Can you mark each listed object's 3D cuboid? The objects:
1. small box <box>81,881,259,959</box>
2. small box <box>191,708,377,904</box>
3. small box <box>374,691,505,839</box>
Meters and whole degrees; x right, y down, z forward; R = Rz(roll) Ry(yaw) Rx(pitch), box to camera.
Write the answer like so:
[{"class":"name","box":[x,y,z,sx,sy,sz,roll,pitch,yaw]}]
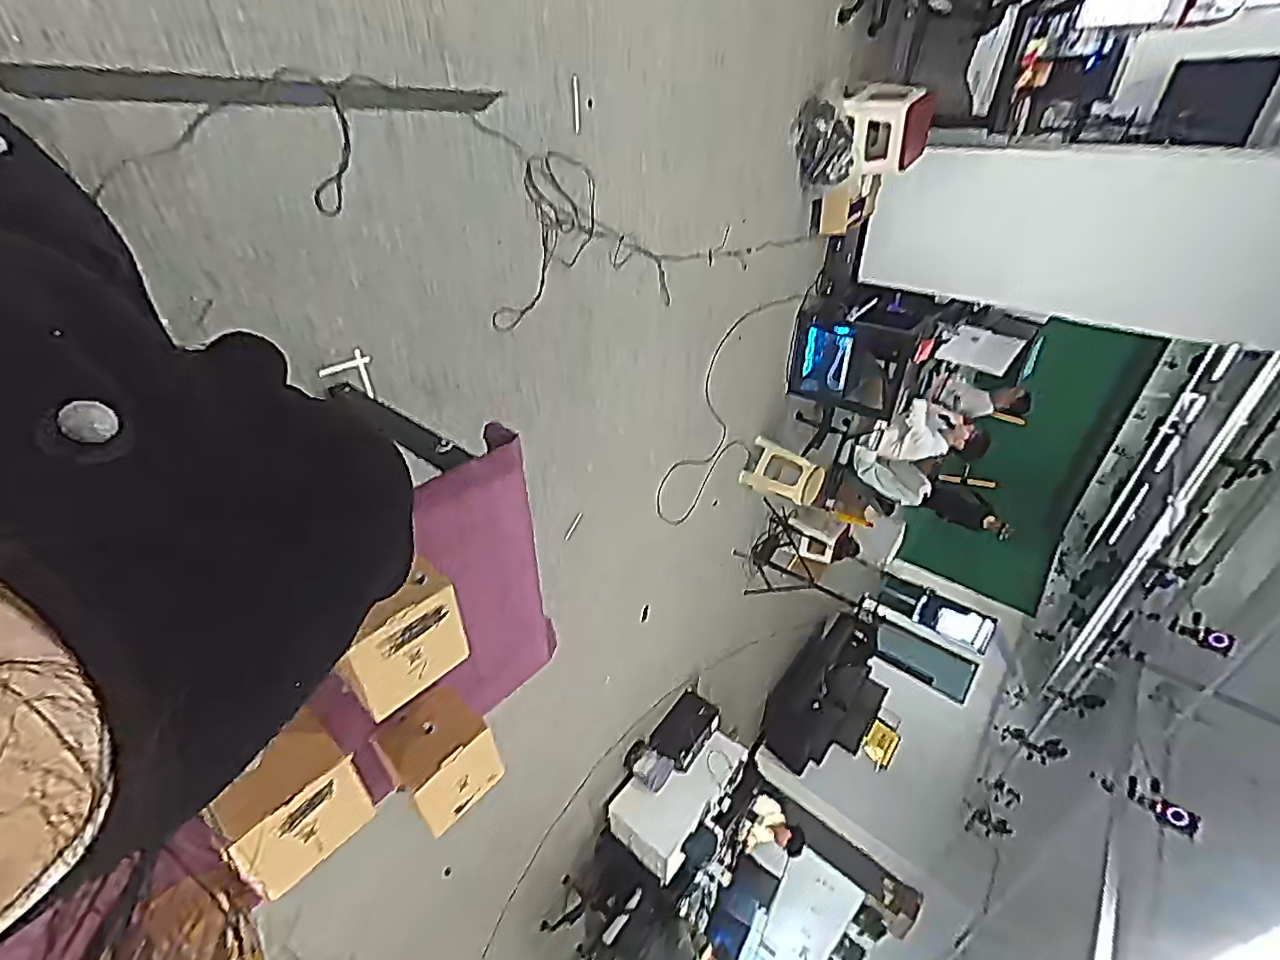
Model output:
[{"class":"small box","box":[-0.692,0.756,0.807,0.168,0.176,0.179,-34,135,-40]},{"class":"small box","box":[-0.547,0.488,0.837,0.168,0.176,0.179,-32,136,-39]},{"class":"small box","box":[-0.400,0.555,1.082,0.168,0.176,0.179,-33,133,-38]}]
